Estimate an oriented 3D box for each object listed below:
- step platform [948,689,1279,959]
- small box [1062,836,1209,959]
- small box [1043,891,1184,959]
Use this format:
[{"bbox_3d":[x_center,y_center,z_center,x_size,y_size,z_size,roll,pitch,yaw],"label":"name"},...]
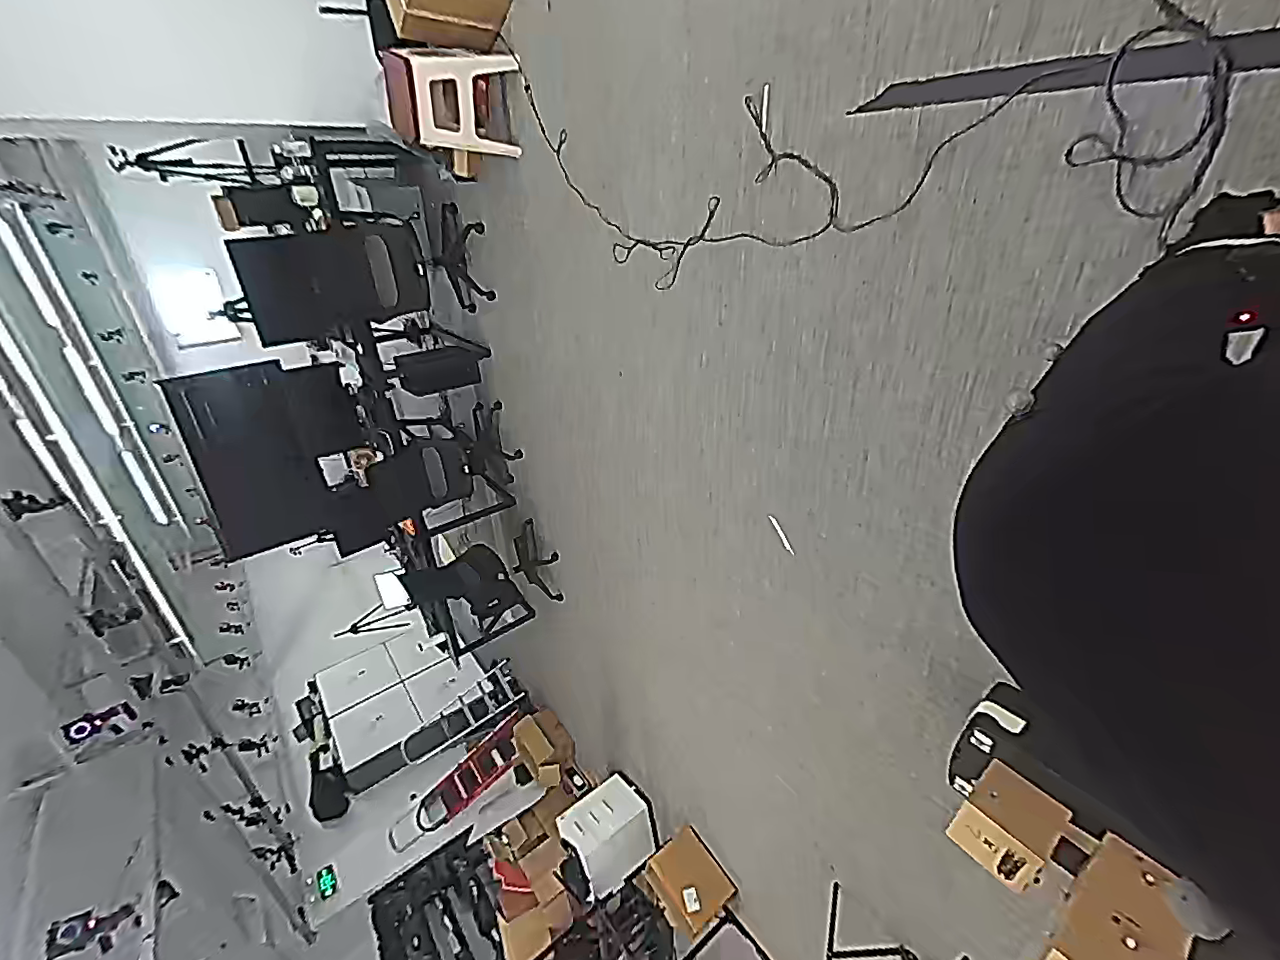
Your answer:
[{"bbox_3d":[1.128,0.840,1.298,0.684,0.204,0.286,29,132,44],"label":"step platform"},{"bbox_3d":[1.042,0.910,1.140,0.168,0.176,0.179,31,133,43],"label":"small box"},{"bbox_3d":[0.915,0.968,1.054,0.168,0.176,0.179,31,133,44],"label":"small box"}]
